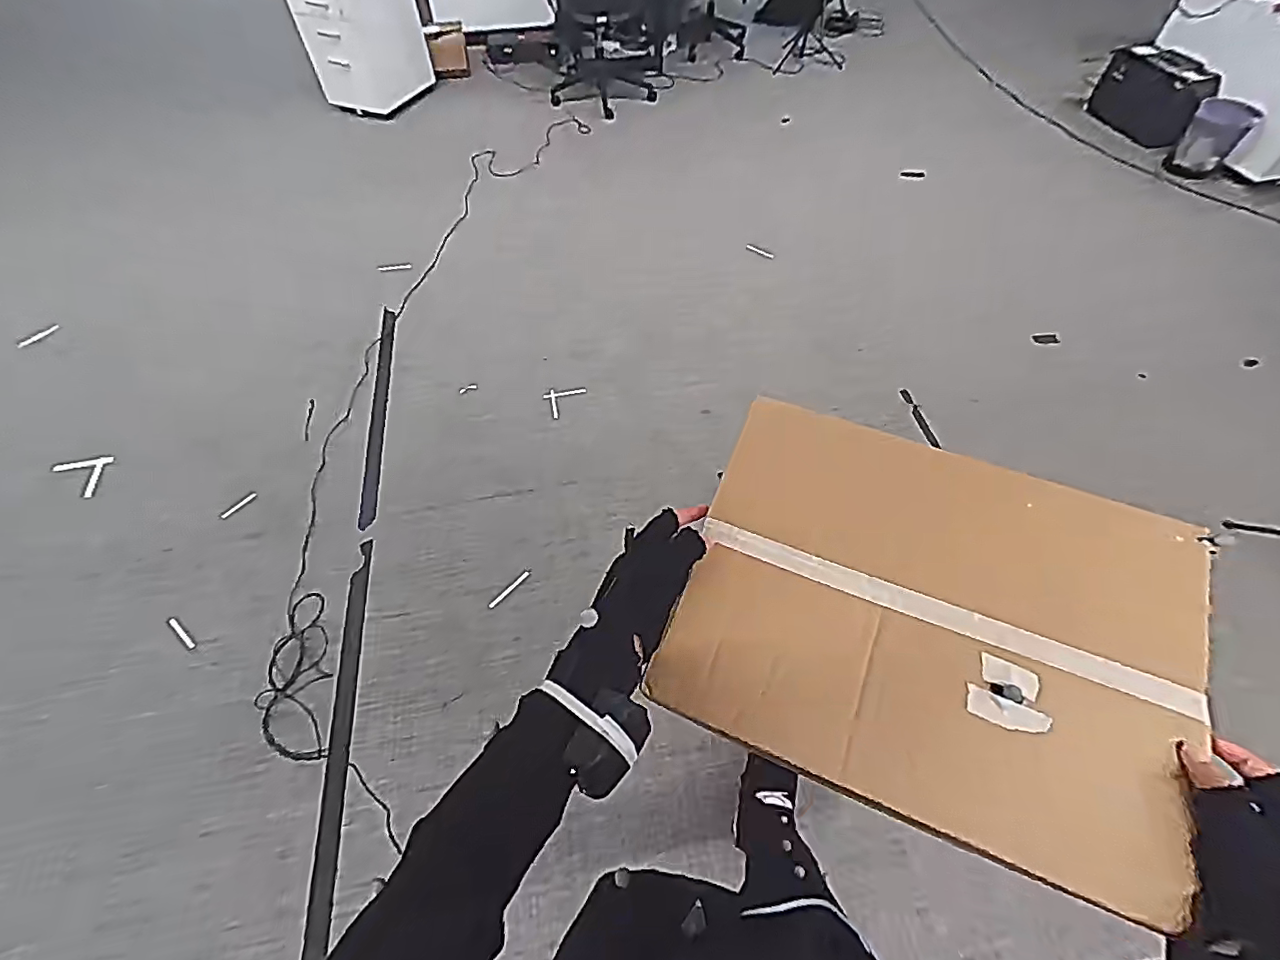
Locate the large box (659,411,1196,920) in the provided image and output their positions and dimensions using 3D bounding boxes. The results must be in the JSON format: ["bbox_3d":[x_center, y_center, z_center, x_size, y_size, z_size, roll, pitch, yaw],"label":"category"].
[{"bbox_3d":[0.262,0.178,0.607,0.408,0.320,0.320,20,70,13],"label":"large box"}]
